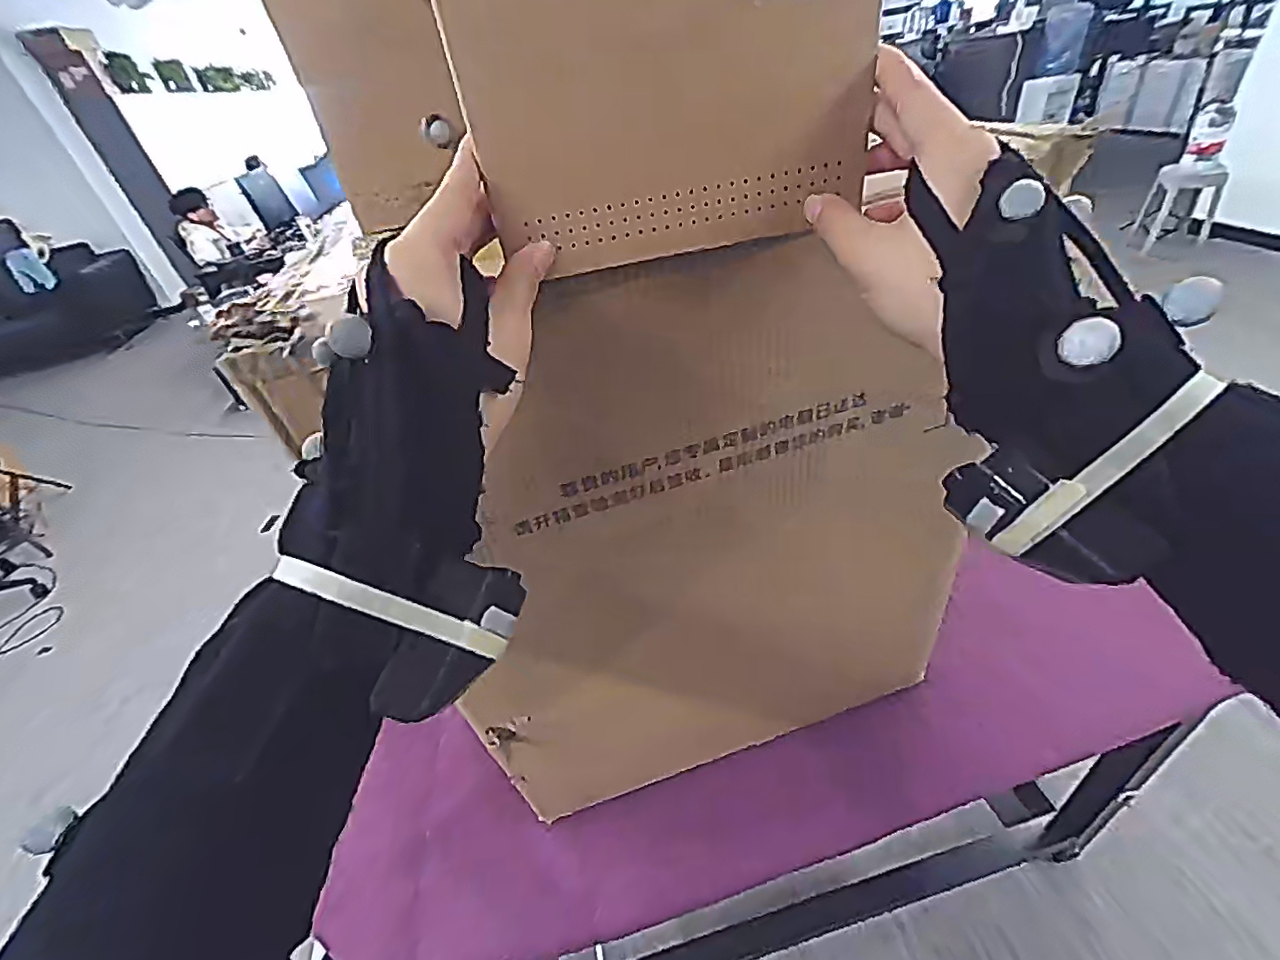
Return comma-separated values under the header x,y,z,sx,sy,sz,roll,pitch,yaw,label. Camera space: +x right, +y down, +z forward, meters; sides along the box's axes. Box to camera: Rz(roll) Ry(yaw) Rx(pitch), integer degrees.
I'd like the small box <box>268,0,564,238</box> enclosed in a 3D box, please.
x,y,z,sx,sy,sz,roll,pitch,yaw,label
-0.171,-0.318,0.455,0.168,0.176,0.179,-17,38,-7,small box
